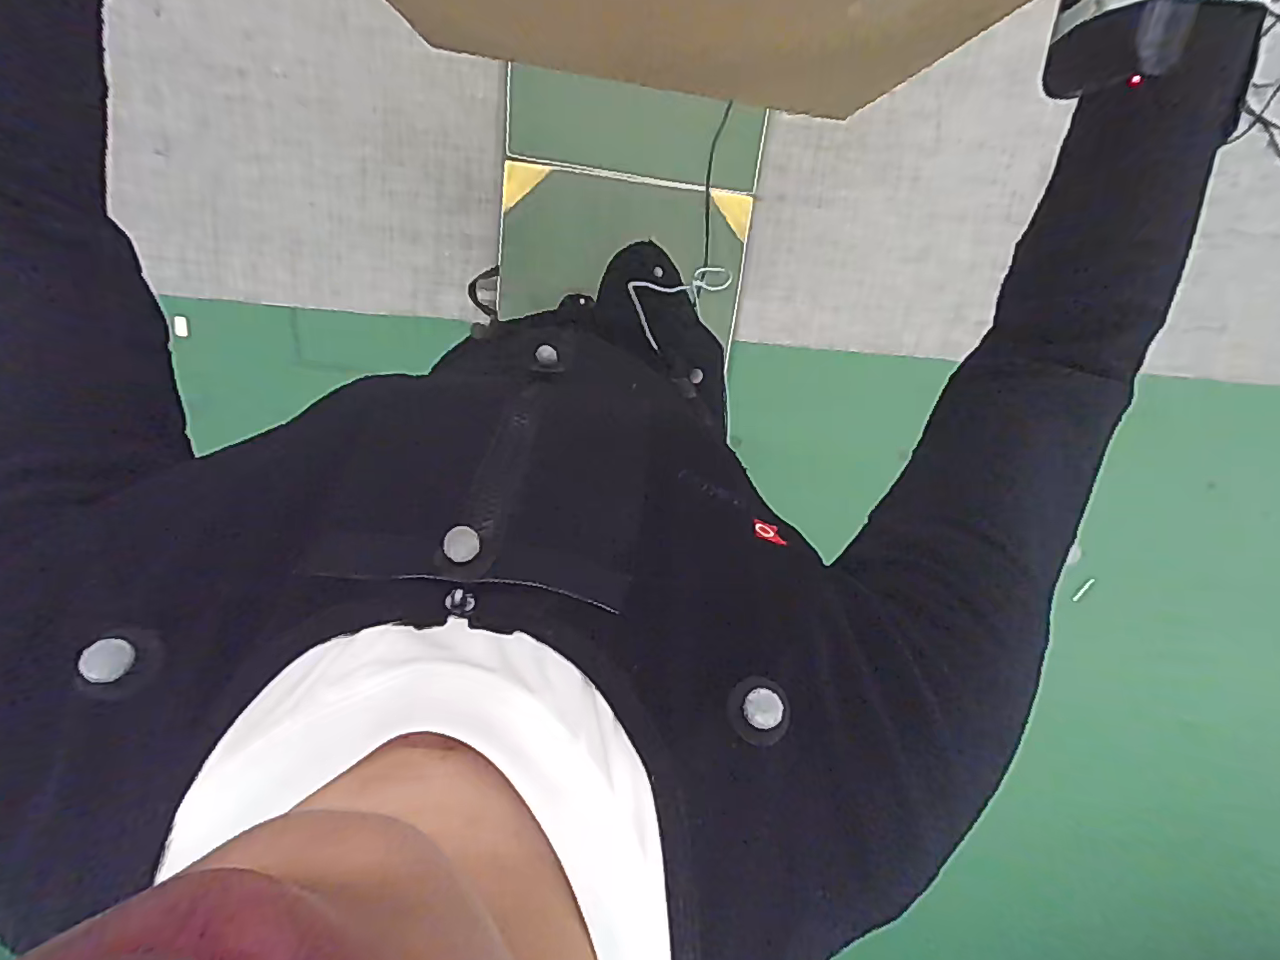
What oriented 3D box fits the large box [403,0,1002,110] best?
[{"bbox_3d":[0.030,-0.465,0.324,0.408,0.320,0.320,6,113,-5],"label":"large box"}]
